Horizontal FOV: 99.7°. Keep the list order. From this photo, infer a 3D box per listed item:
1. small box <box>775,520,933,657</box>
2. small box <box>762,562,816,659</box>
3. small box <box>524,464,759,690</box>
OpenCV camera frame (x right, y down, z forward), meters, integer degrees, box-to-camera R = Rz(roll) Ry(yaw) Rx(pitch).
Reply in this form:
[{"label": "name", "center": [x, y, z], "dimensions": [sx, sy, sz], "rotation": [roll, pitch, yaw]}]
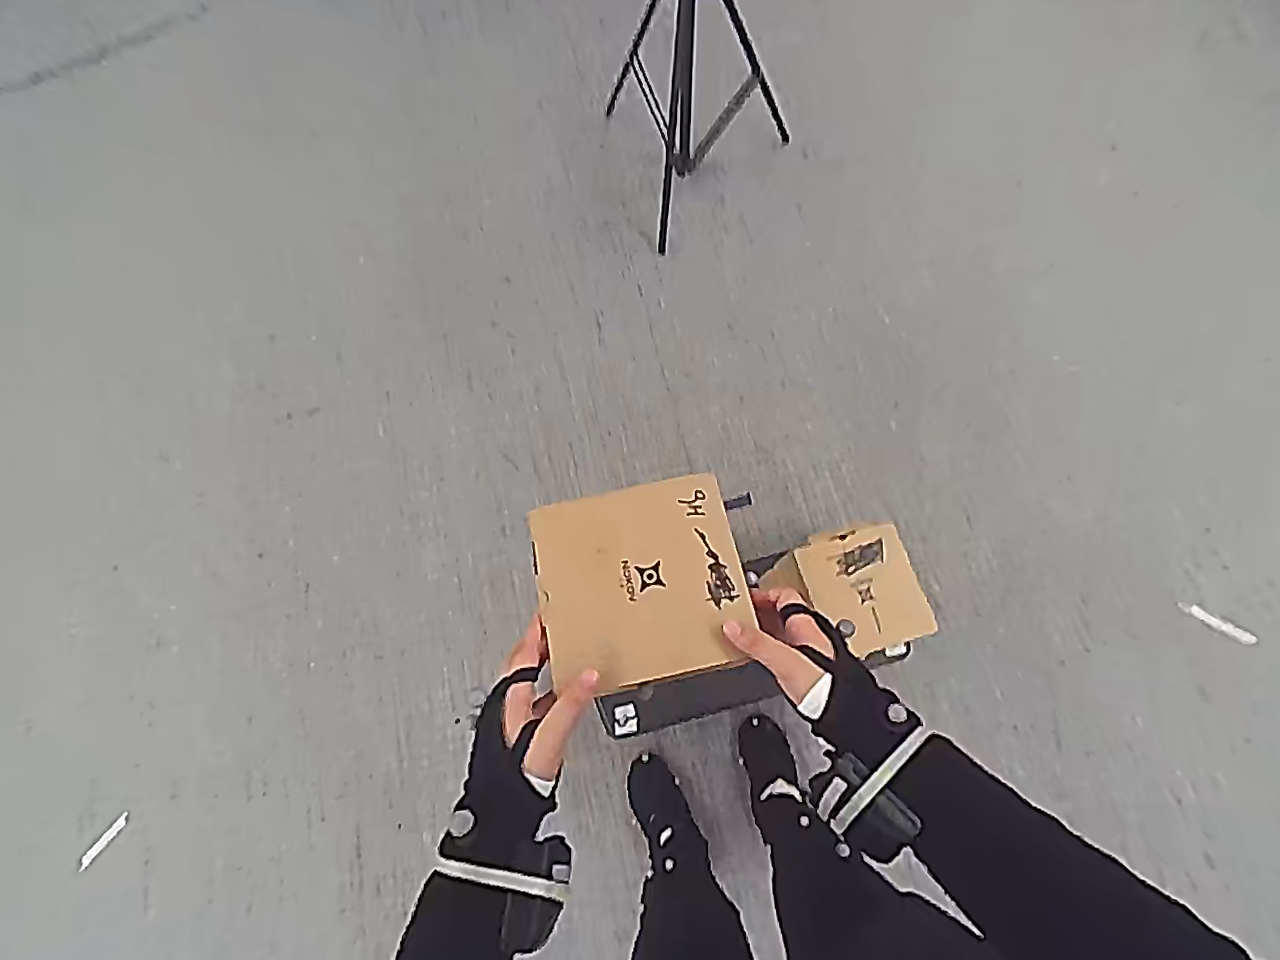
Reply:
[{"label": "small box", "center": [0.340, 0.187, 0.900], "dimensions": [0.168, 0.176, 0.179], "rotation": [-16, 73, -1]}, {"label": "small box", "center": [0.342, 0.241, 1.056], "dimensions": [0.168, 0.176, 0.179], "rotation": [-16, 73, -1]}, {"label": "small box", "center": [0.000, 0.104, 0.530], "dimensions": [0.179, 0.176, 0.168], "rotation": [-12, 71, -2]}]
